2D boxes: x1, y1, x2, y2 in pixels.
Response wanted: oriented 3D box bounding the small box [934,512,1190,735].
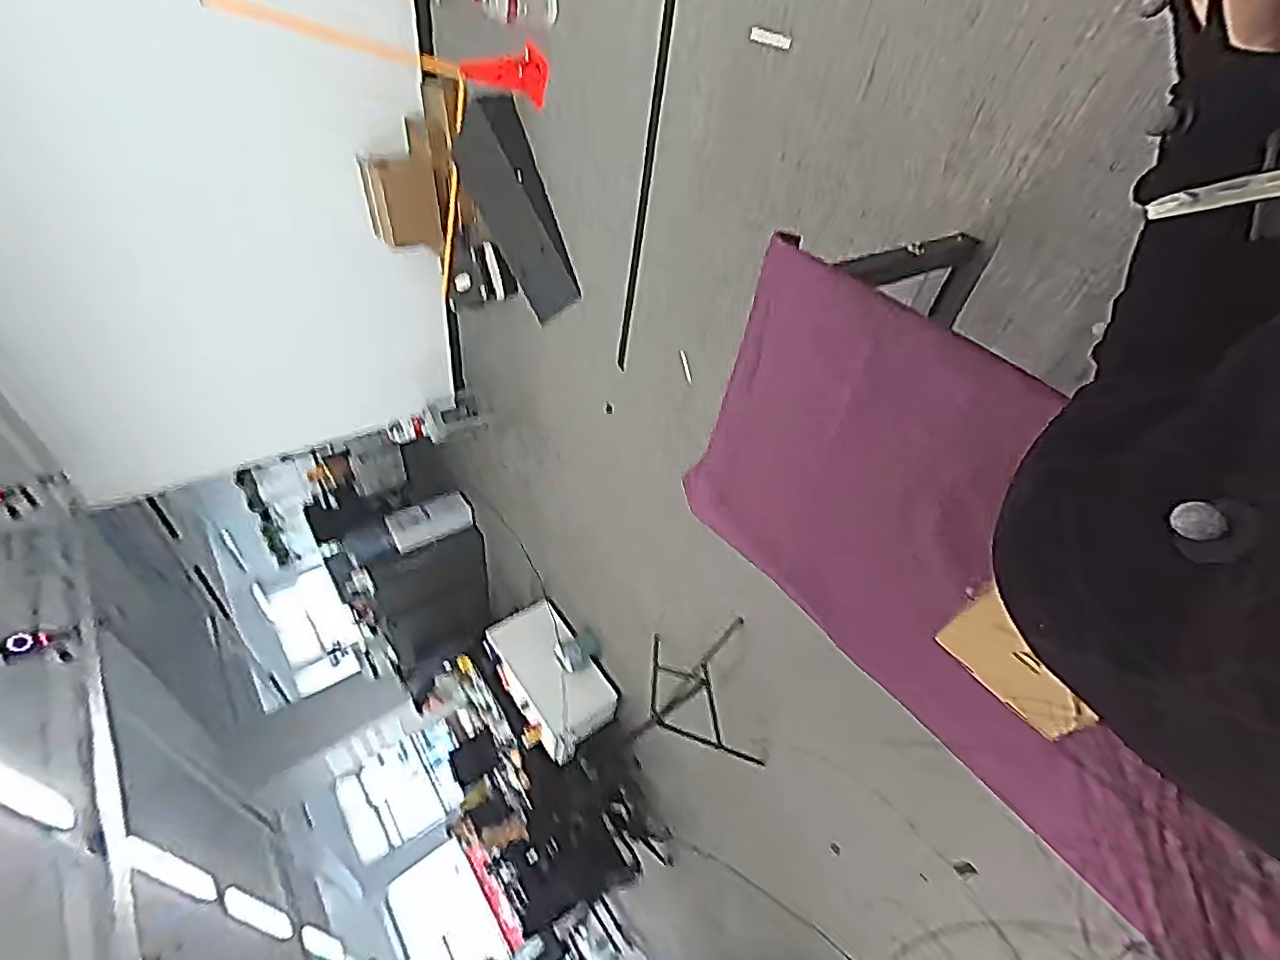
[{"bbox_3d":[0.522,0.174,0.675,0.168,0.176,0.179,45,142,27],"label":"small box"}]
